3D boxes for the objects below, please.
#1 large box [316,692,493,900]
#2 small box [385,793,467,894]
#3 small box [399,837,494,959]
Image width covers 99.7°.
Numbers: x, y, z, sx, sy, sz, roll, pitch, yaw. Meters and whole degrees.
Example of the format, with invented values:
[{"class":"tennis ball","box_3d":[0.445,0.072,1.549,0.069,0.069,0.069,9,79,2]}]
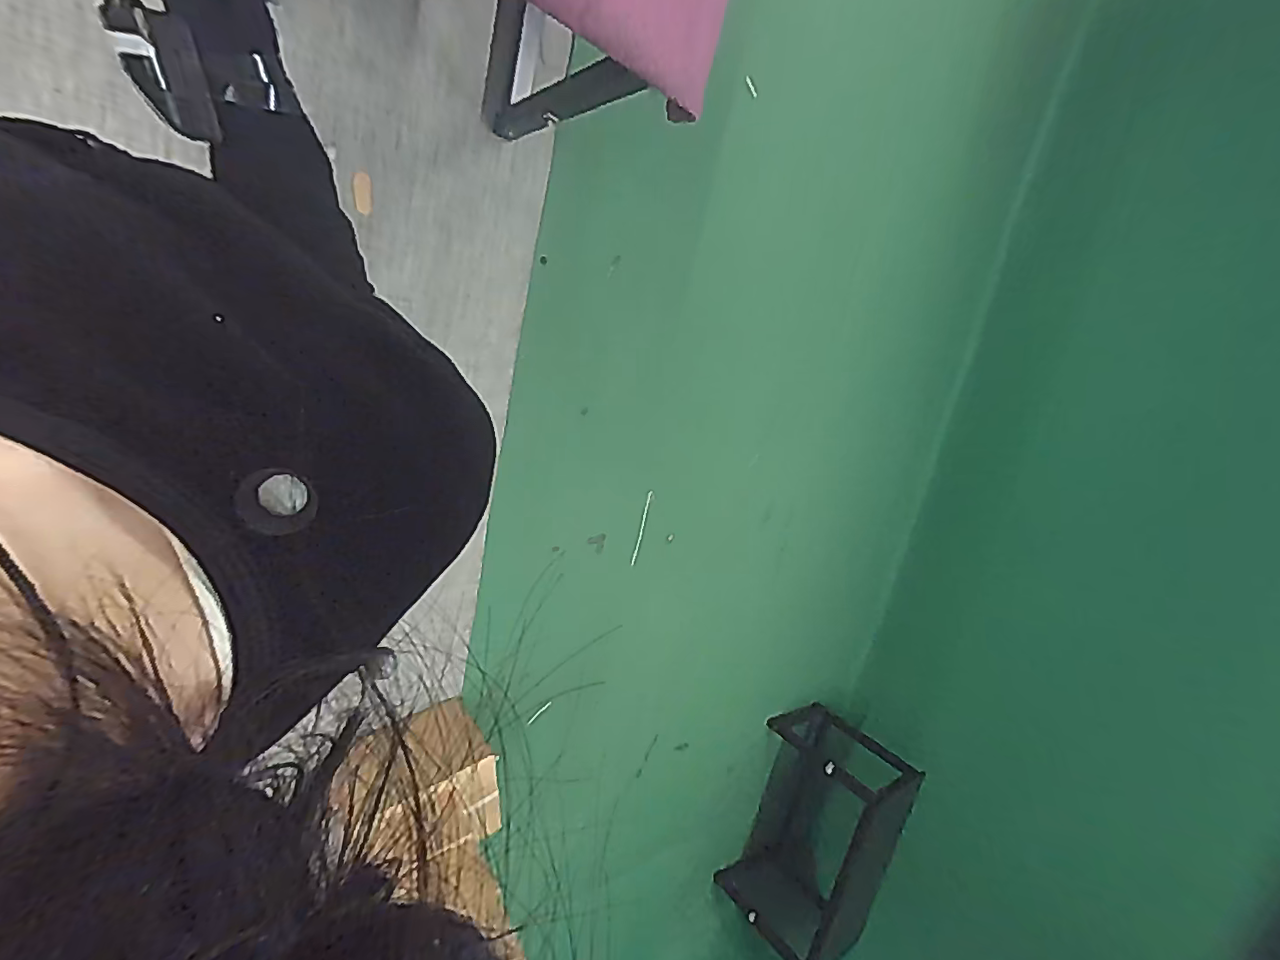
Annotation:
[{"class":"large box","box_3d":[-0.715,0.938,1.663,0.408,0.320,0.320,-15,118,-38]},{"class":"small box","box_3d":[-0.580,0.987,1.460,0.168,0.176,0.179,-7,112,-38]},{"class":"small box","box_3d":[-0.482,1.041,1.342,0.179,0.176,0.168,-6,111,-39]}]
